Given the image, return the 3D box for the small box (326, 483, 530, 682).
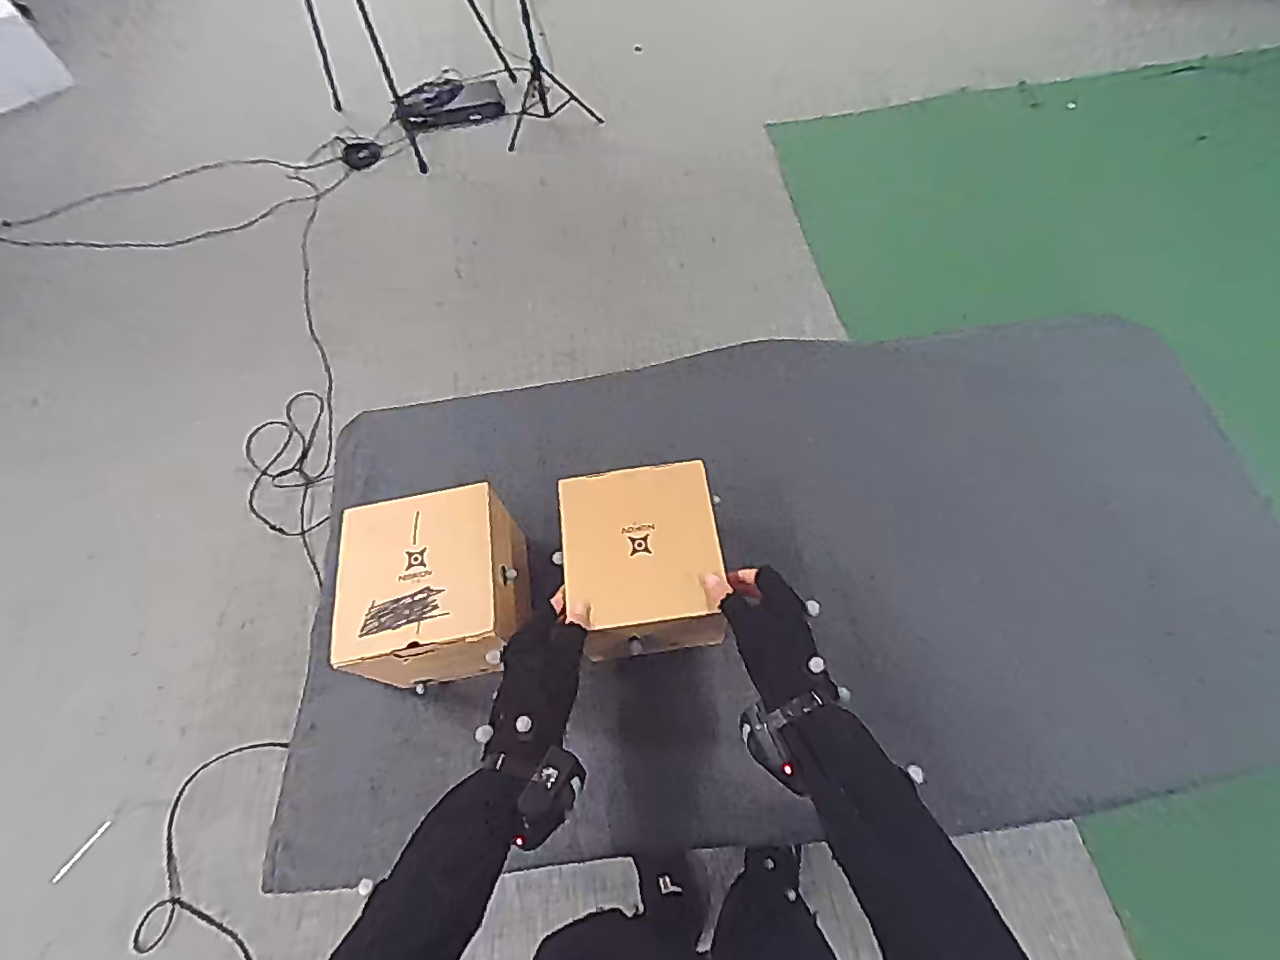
[{"bbox_3d":[-0.232,0.130,0.633,0.168,0.176,0.179,-11,60,-2],"label":"small box"}]
